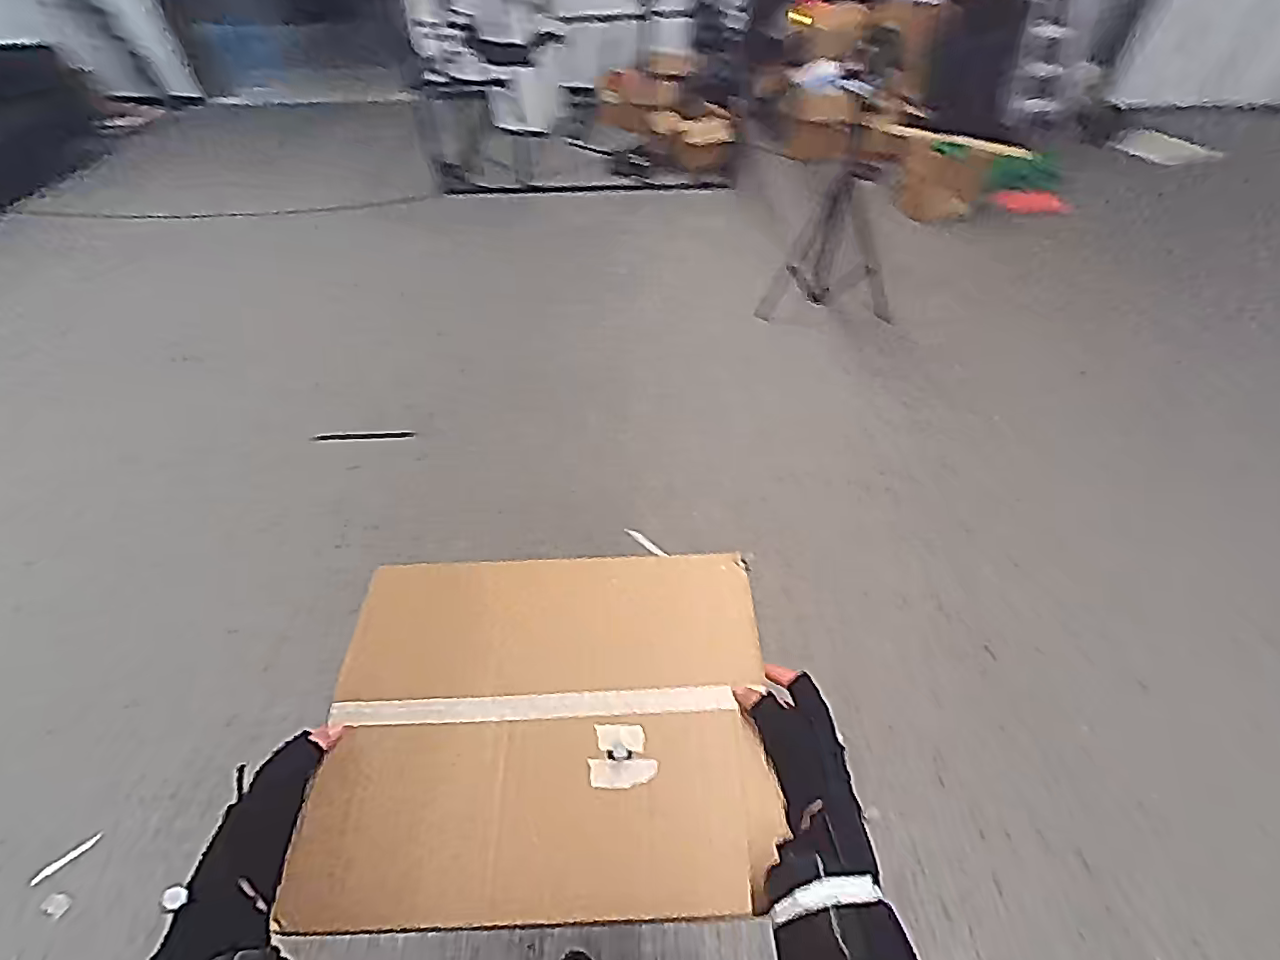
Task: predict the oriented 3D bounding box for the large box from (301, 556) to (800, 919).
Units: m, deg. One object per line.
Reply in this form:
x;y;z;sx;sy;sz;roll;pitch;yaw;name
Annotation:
-0.074;0.304;0.632;0.408;0.320;0.320;-1;52;0;large box
